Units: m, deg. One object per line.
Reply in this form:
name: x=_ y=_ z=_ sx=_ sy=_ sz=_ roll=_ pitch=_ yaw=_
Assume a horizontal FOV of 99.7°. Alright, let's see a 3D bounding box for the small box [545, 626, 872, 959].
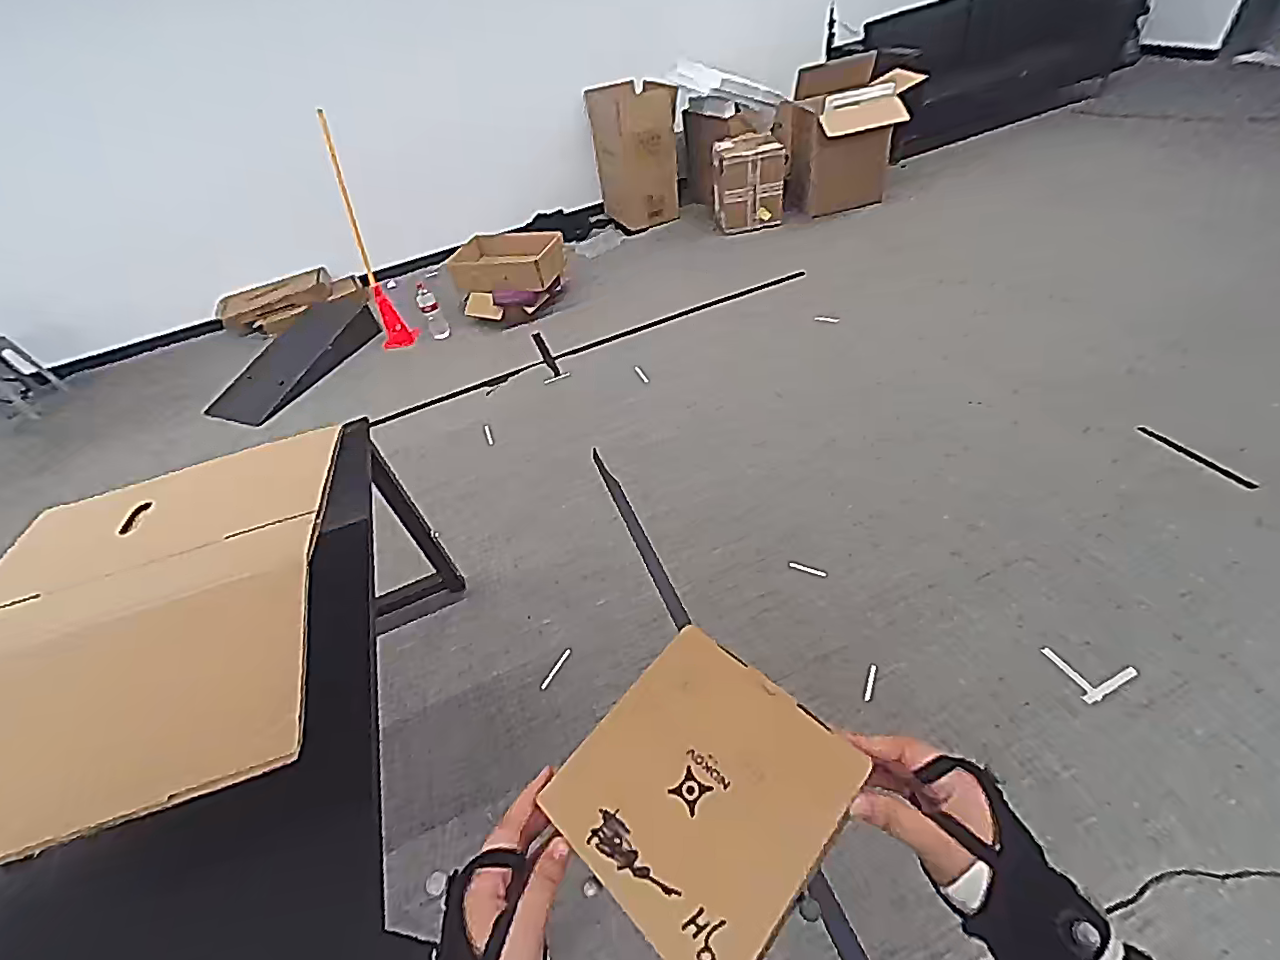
small box: x=0.057 y=0.262 z=0.436 sx=0.168 sy=0.176 sz=0.179 roll=30 pitch=60 yaw=36
